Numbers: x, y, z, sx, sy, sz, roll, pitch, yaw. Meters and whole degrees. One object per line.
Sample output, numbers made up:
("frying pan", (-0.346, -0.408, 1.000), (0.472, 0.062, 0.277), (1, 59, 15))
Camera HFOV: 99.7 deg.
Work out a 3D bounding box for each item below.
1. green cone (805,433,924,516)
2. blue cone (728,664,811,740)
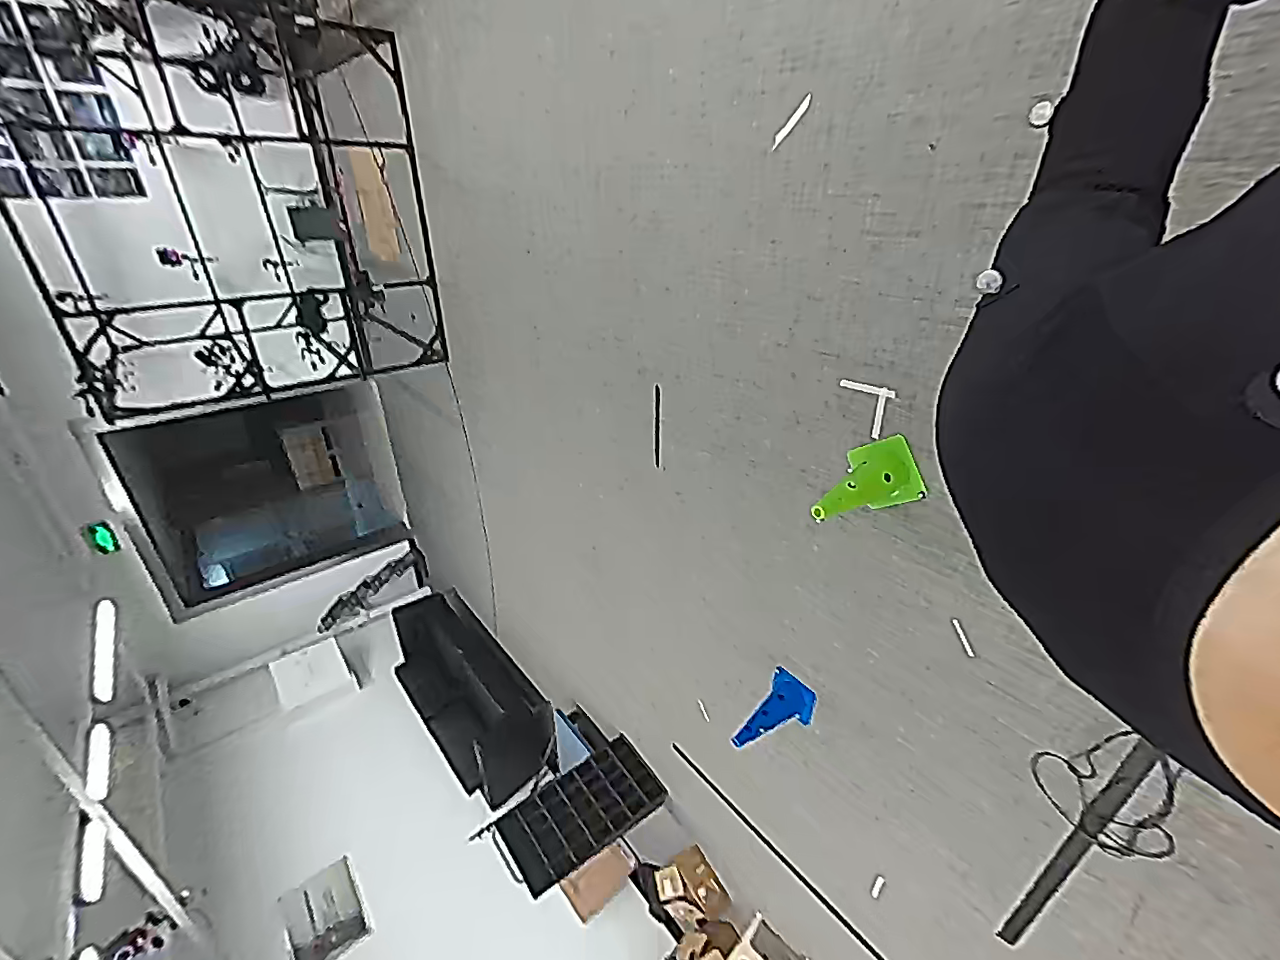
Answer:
("green cone", (0.601, 0.021, 1.539), (0.202, 0.368, 0.200), (-25, 86, 57))
("blue cone", (0.507, 0.941, 2.192), (0.192, 0.380, 0.193), (35, 133, 41))
